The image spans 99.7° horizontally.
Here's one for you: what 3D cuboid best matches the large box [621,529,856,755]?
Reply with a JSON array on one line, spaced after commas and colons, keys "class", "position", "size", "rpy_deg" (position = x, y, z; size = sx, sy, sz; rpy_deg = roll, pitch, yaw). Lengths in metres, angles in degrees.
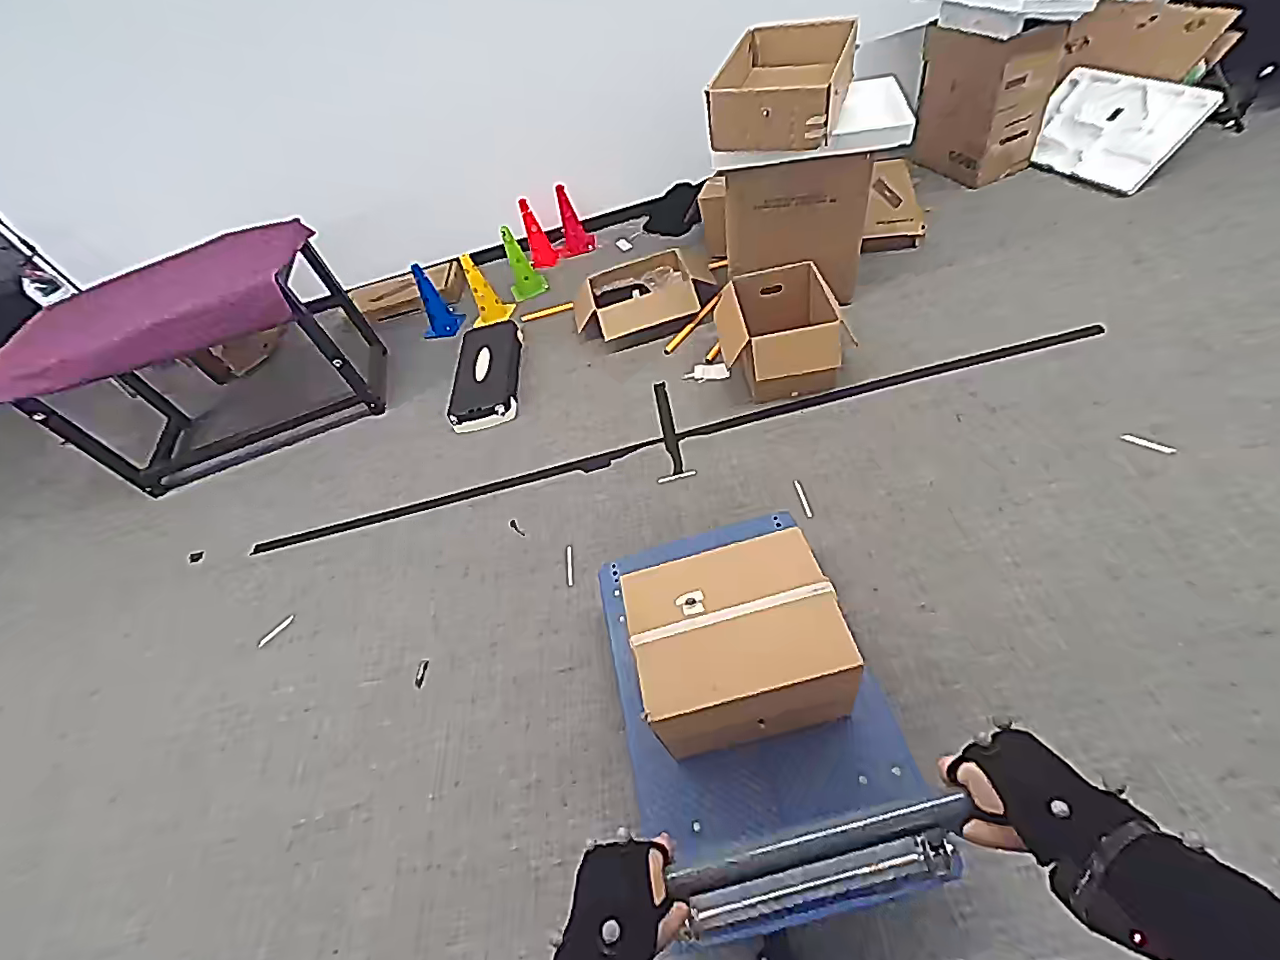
[{"class": "large box", "position": [0.211, 0.365, 1.194], "size": [0.408, 0.320, 0.320], "rpy_deg": [-17, 48, 3]}]
